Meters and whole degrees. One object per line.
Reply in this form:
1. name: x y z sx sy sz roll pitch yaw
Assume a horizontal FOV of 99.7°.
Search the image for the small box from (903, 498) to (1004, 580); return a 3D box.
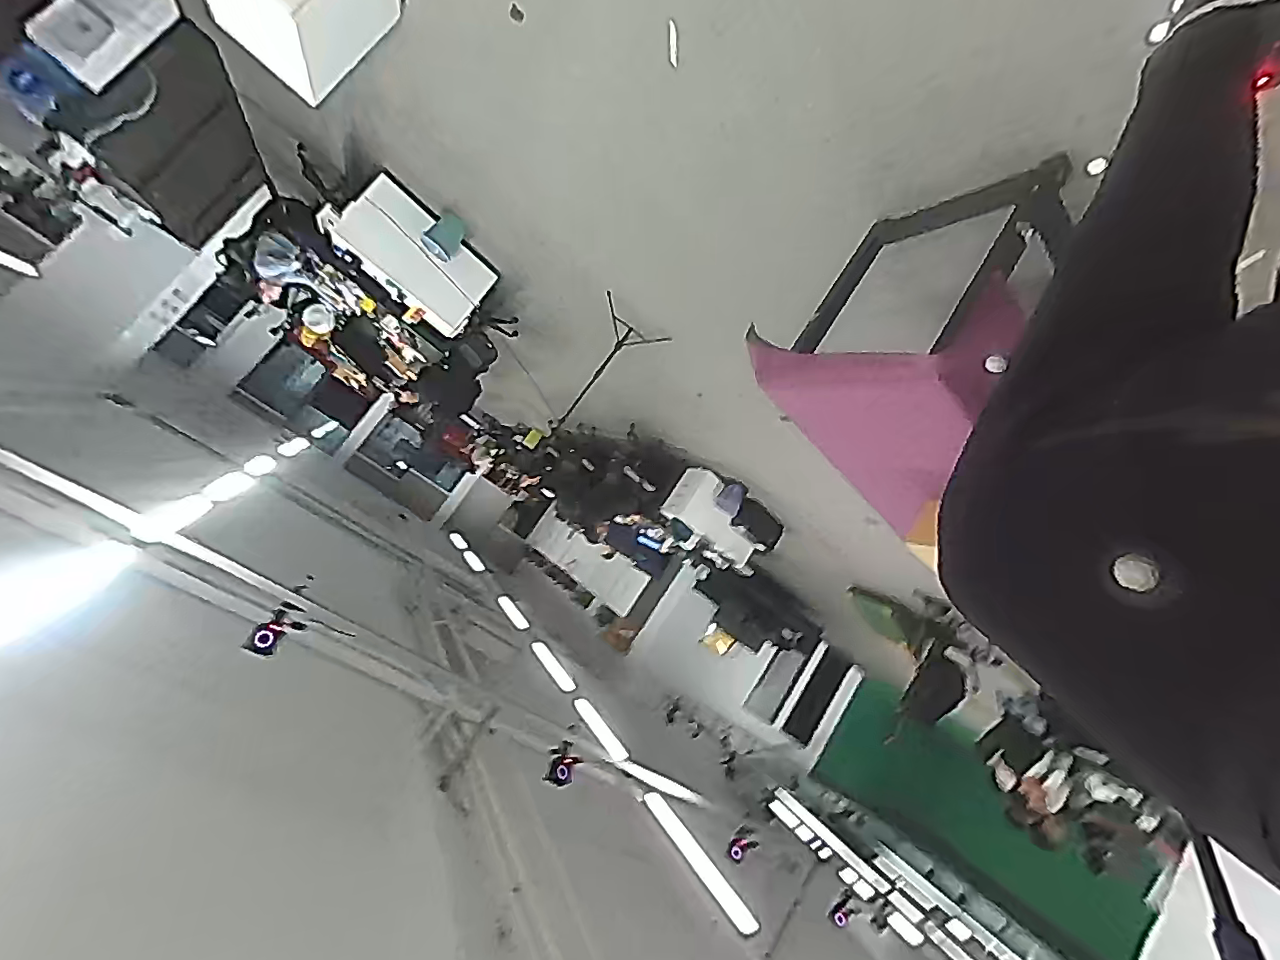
1. small box: 0.952 0.175 1.638 0.179 0.176 0.168 38 169 -16
